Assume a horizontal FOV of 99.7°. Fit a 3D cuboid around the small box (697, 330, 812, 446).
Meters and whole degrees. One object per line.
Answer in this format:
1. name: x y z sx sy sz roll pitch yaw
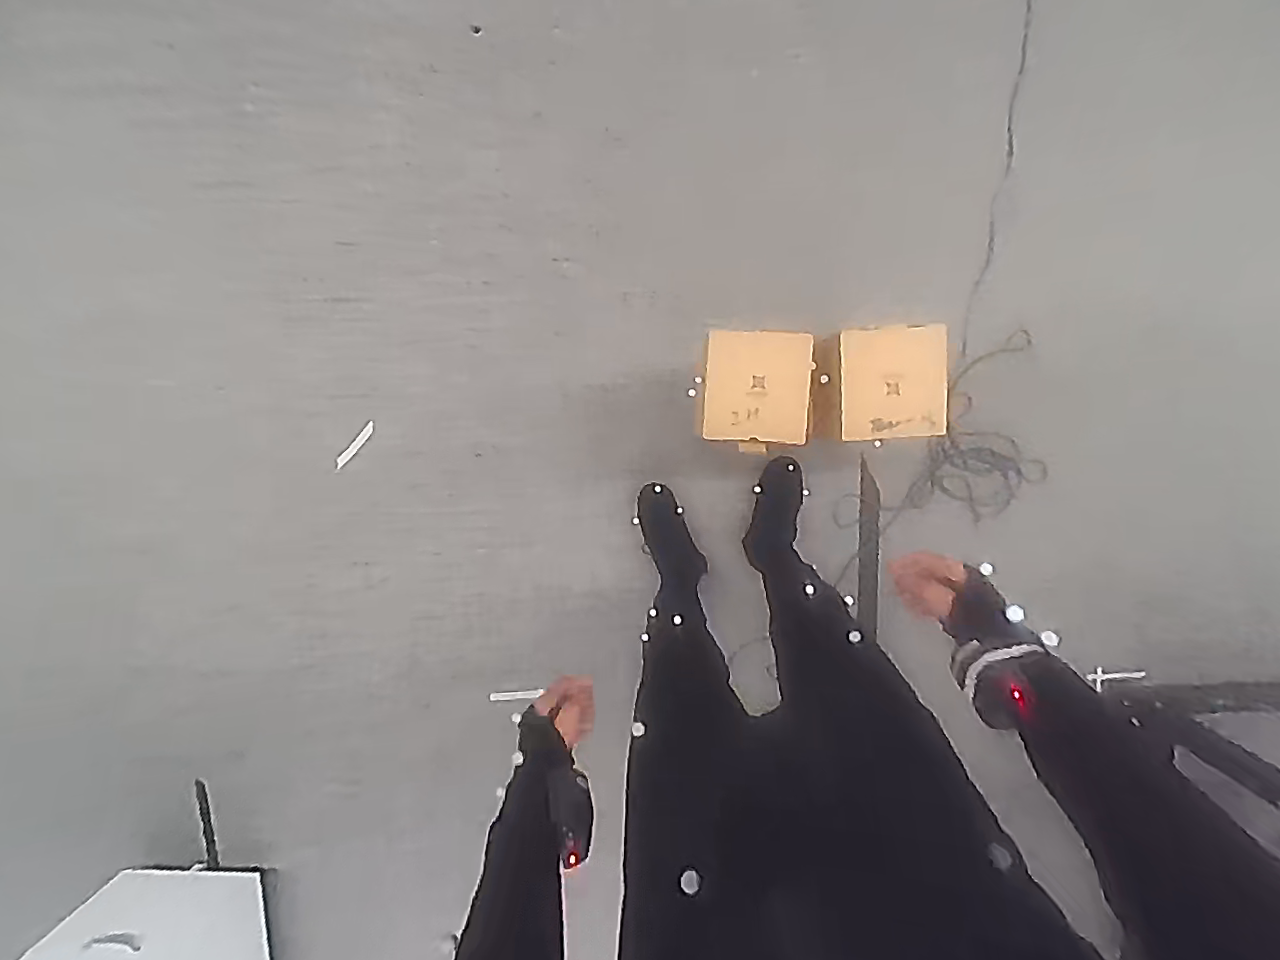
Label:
1. small box: 0.186 -0.152 0.924 0.168 0.176 0.179 2 97 4
